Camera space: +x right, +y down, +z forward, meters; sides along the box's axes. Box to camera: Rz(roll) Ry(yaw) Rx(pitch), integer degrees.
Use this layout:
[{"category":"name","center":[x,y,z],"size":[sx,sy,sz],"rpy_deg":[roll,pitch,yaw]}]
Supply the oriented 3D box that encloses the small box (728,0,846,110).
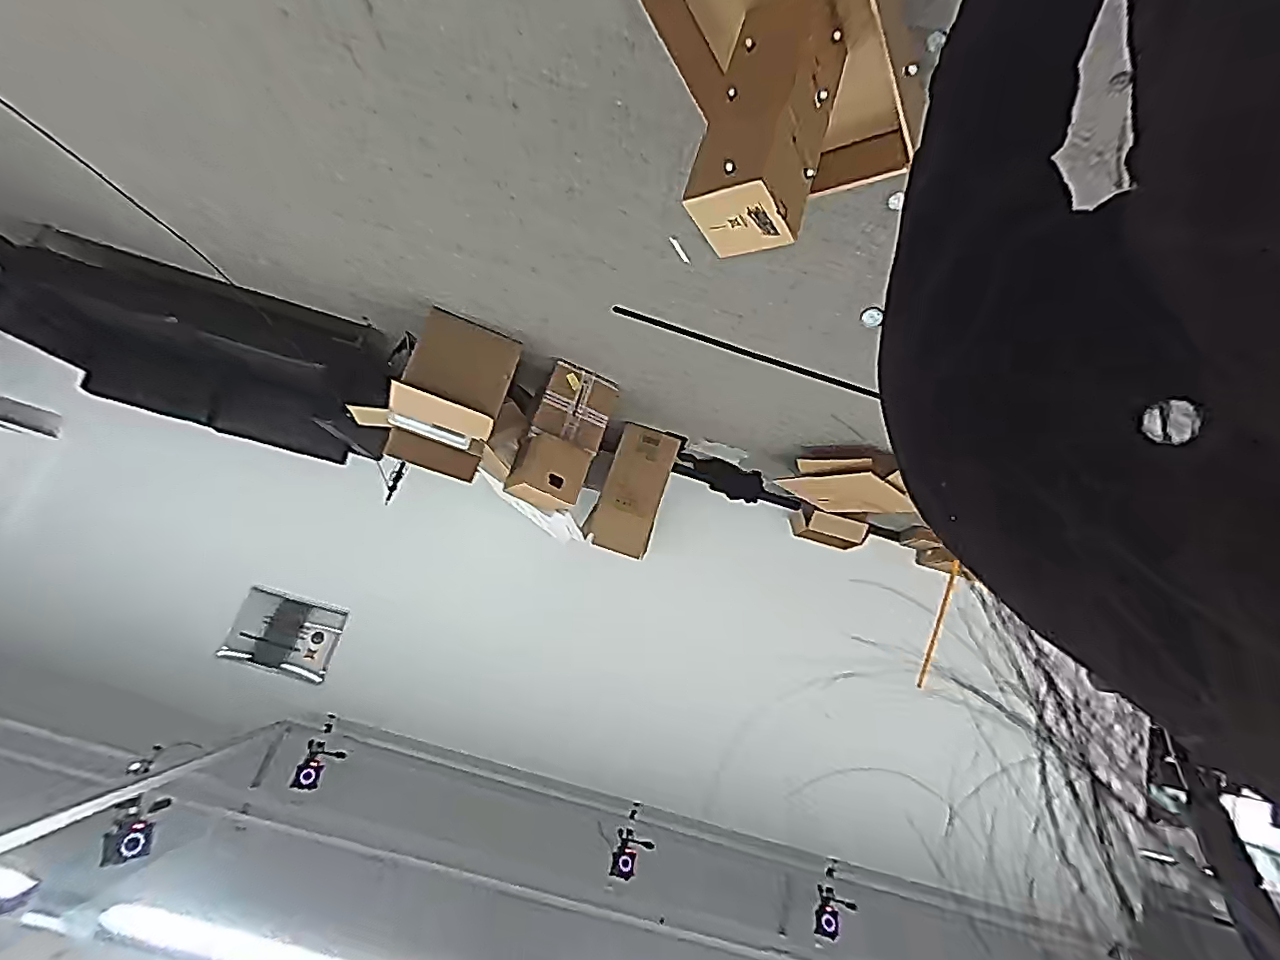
[{"category":"small box","center":[0.310,-0.883,1.126],"size":[0.179,0.176,0.168],"rpy_deg":[6,163,37]}]

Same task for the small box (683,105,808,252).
[{"category":"small box","center":[0.213,-0.580,1.052],"size":[0.179,0.176,0.168],"rpy_deg":[7,164,39]}]

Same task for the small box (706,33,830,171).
[{"category":"small box","center":[0.262,-0.733,1.087],"size":[0.179,0.176,0.168],"rpy_deg":[5,162,38]}]
